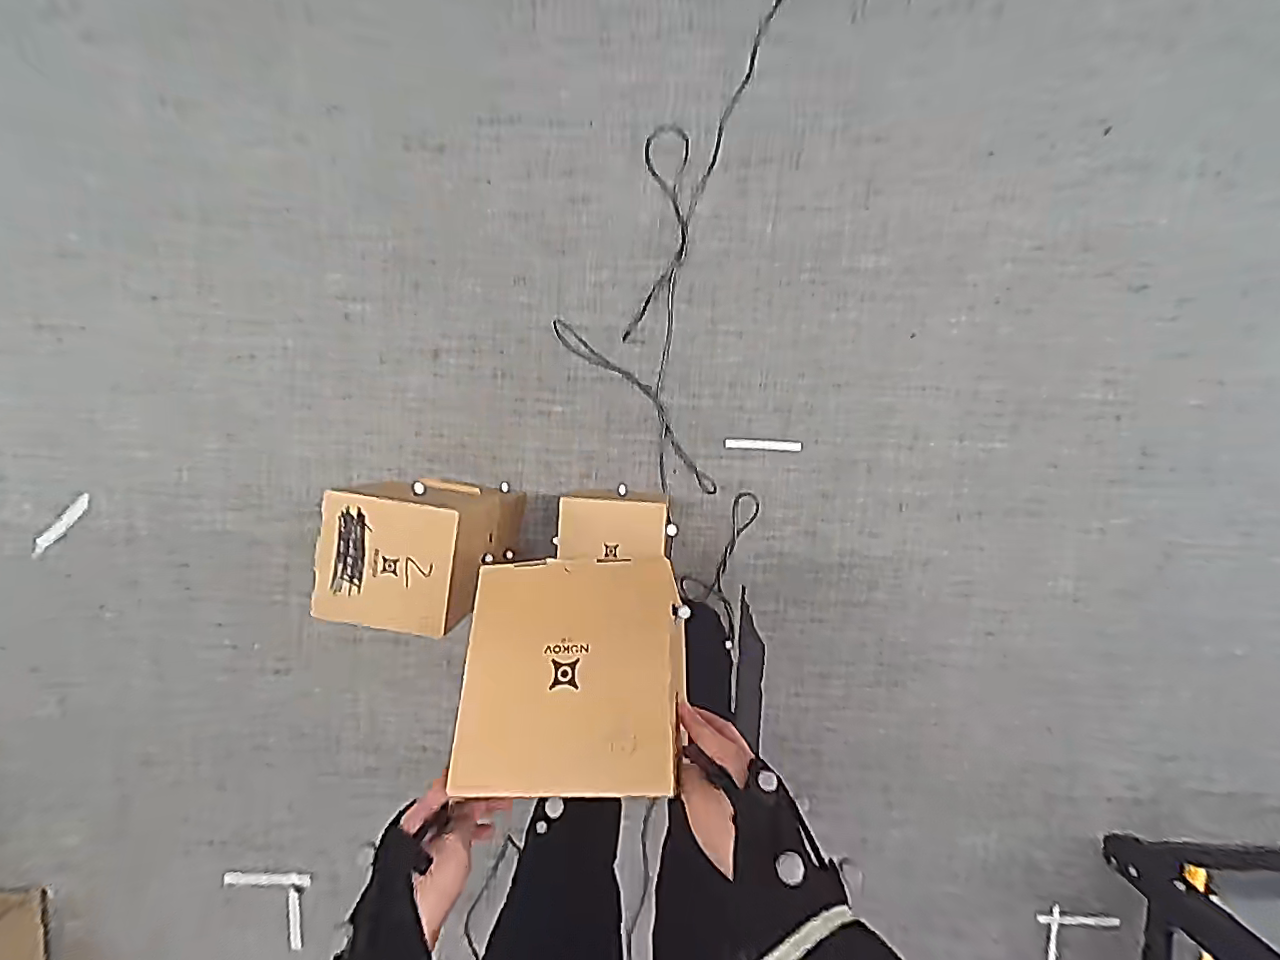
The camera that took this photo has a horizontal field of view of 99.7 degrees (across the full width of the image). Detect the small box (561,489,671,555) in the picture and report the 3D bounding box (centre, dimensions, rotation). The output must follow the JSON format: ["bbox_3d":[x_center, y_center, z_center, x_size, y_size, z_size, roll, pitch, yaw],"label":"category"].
[{"bbox_3d":[-0.037,0.110,0.907,0.168,0.176,0.179,4,94,3],"label":"small box"}]

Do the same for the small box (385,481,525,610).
[{"bbox_3d":[-0.301,0.102,0.916,0.168,0.176,0.179,9,95,2],"label":"small box"}]

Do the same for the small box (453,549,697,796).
[{"bbox_3d":[-0.039,0.177,0.476,0.168,0.176,0.179,-4,58,7],"label":"small box"}]
